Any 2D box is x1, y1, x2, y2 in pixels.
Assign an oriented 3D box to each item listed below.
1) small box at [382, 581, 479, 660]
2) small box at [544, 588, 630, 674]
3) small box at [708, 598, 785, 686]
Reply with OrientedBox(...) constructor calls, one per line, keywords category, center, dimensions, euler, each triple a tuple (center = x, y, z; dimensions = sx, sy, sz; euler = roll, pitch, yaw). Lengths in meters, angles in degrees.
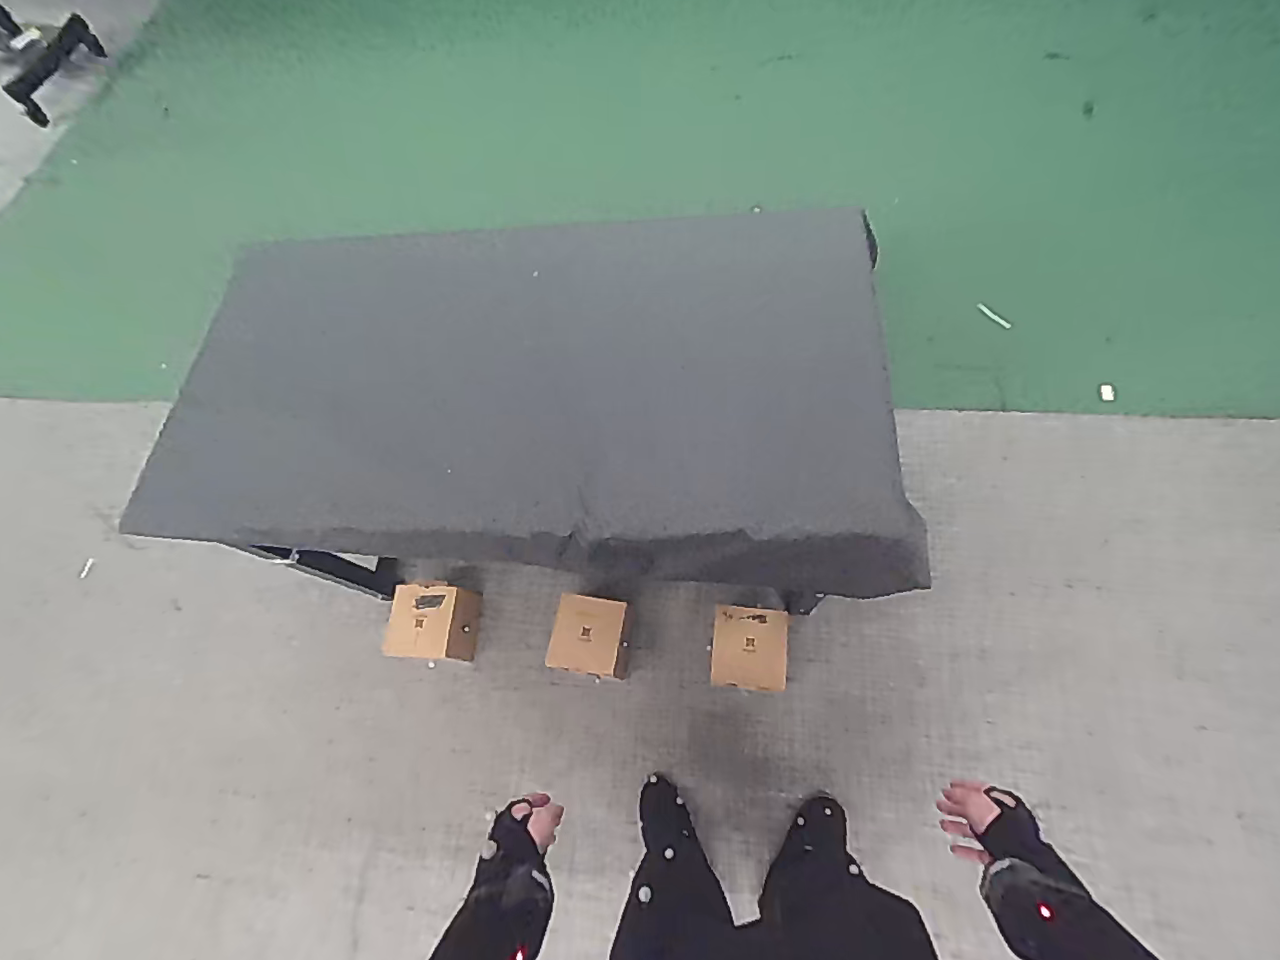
OrientedBox(category="small box", center=(-0.533, 0.366, 1.403), dimensions=(0.168, 0.176, 0.179), euler=(0, 69, 8))
OrientedBox(category="small box", center=(-0.123, 0.381, 1.349), dimensions=(0.168, 0.176, 0.179), euler=(6, 68, 8))
OrientedBox(category="small box", center=(0.253, 0.392, 1.296), dimensions=(0.168, 0.176, 0.179), euler=(4, 67, 9))
